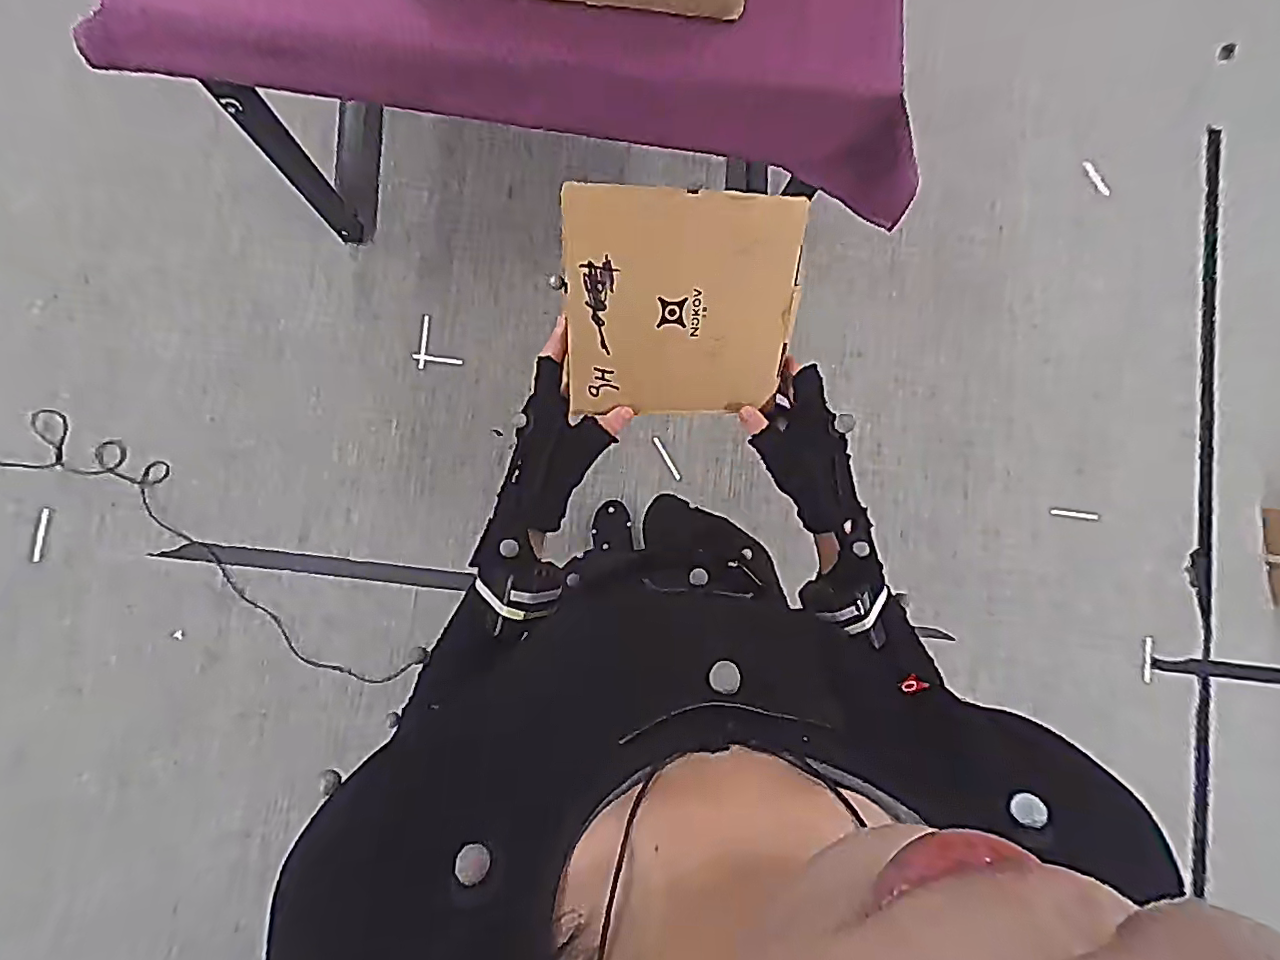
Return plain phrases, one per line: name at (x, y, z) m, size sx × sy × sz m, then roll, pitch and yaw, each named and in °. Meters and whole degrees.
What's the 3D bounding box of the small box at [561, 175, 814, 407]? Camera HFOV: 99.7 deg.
small box at (0.023, -0.170, 0.477) m, size 0.179 × 0.176 × 0.168 m, roll -2°, pitch 118°, yaw -9°
